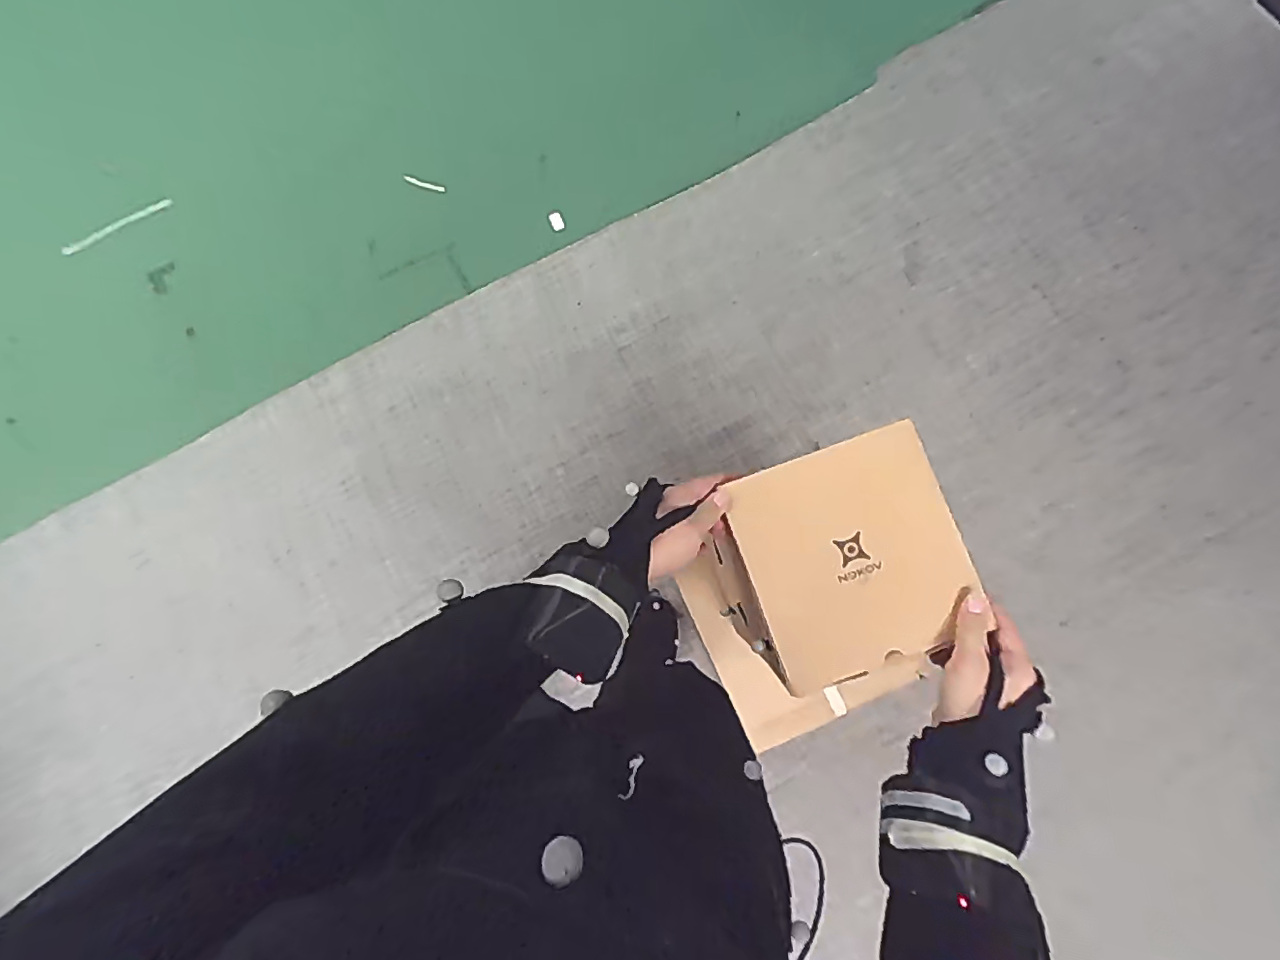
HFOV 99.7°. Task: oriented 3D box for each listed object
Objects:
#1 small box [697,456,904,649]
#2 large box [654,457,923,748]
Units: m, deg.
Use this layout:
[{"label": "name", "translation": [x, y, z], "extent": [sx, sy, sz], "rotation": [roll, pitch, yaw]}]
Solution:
[{"label": "small box", "translation": [0.177, 0.089, 0.666], "extent": [0.179, 0.176, 0.168], "rotation": [-22, 83, -2]}, {"label": "large box", "translation": [0.247, 0.218, 1.055], "extent": [0.320, 0.320, 0.408], "rotation": [-25, 82, -1]}]
